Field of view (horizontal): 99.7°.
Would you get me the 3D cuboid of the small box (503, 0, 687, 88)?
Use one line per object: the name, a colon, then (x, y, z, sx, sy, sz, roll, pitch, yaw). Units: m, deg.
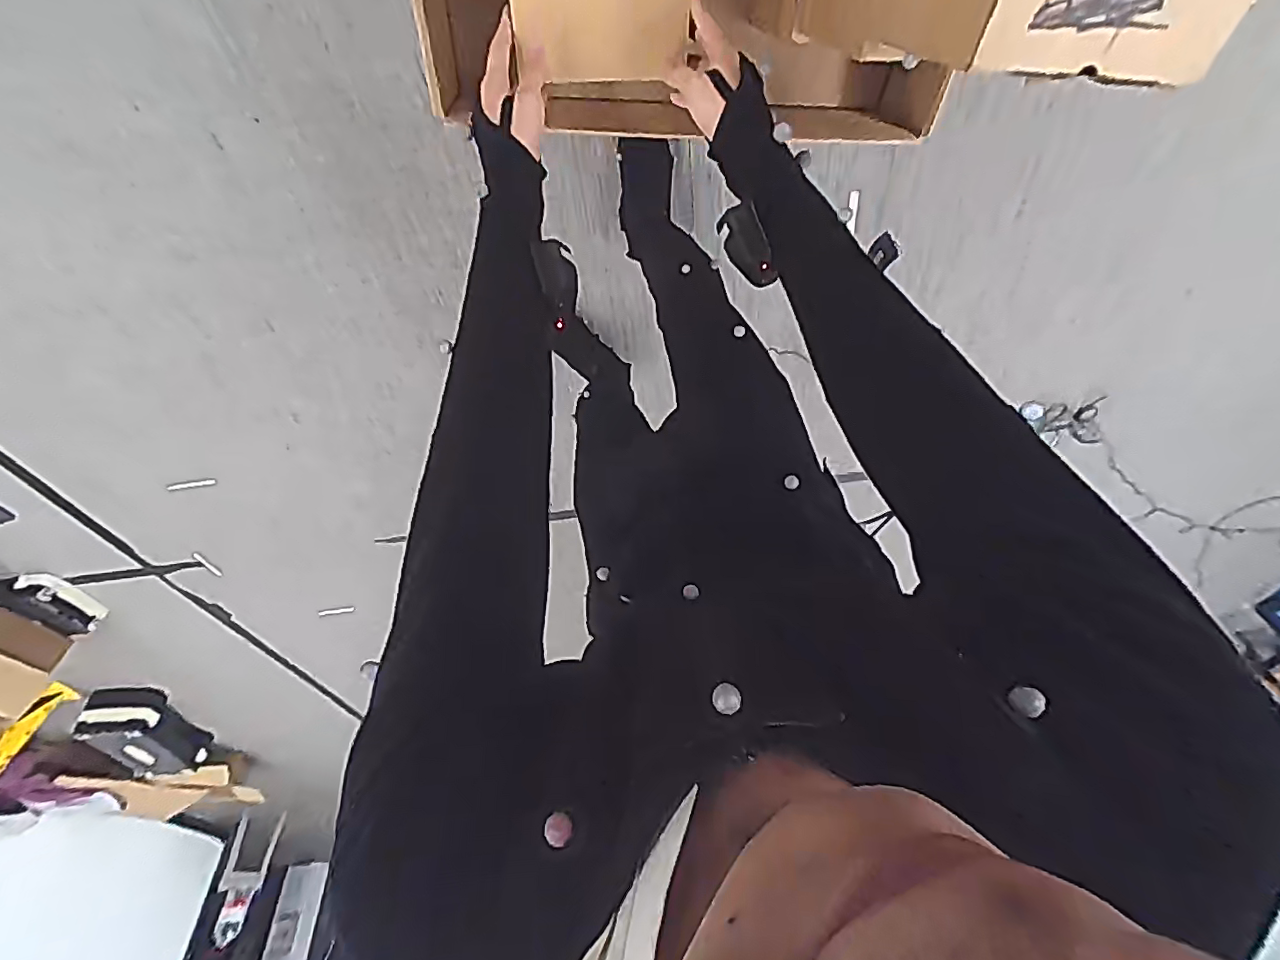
small box: (-0.048, -0.496, 0.511, 0.168, 0.176, 0.179, -6, 136, -6)

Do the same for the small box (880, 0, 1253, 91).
small box: (0.280, -0.372, 0.340, 0.168, 0.176, 0.179, -1, 134, -7)

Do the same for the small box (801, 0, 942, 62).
small box: (0.264, -0.478, 0.467, 0.179, 0.176, 0.168, -4, 135, -5)
